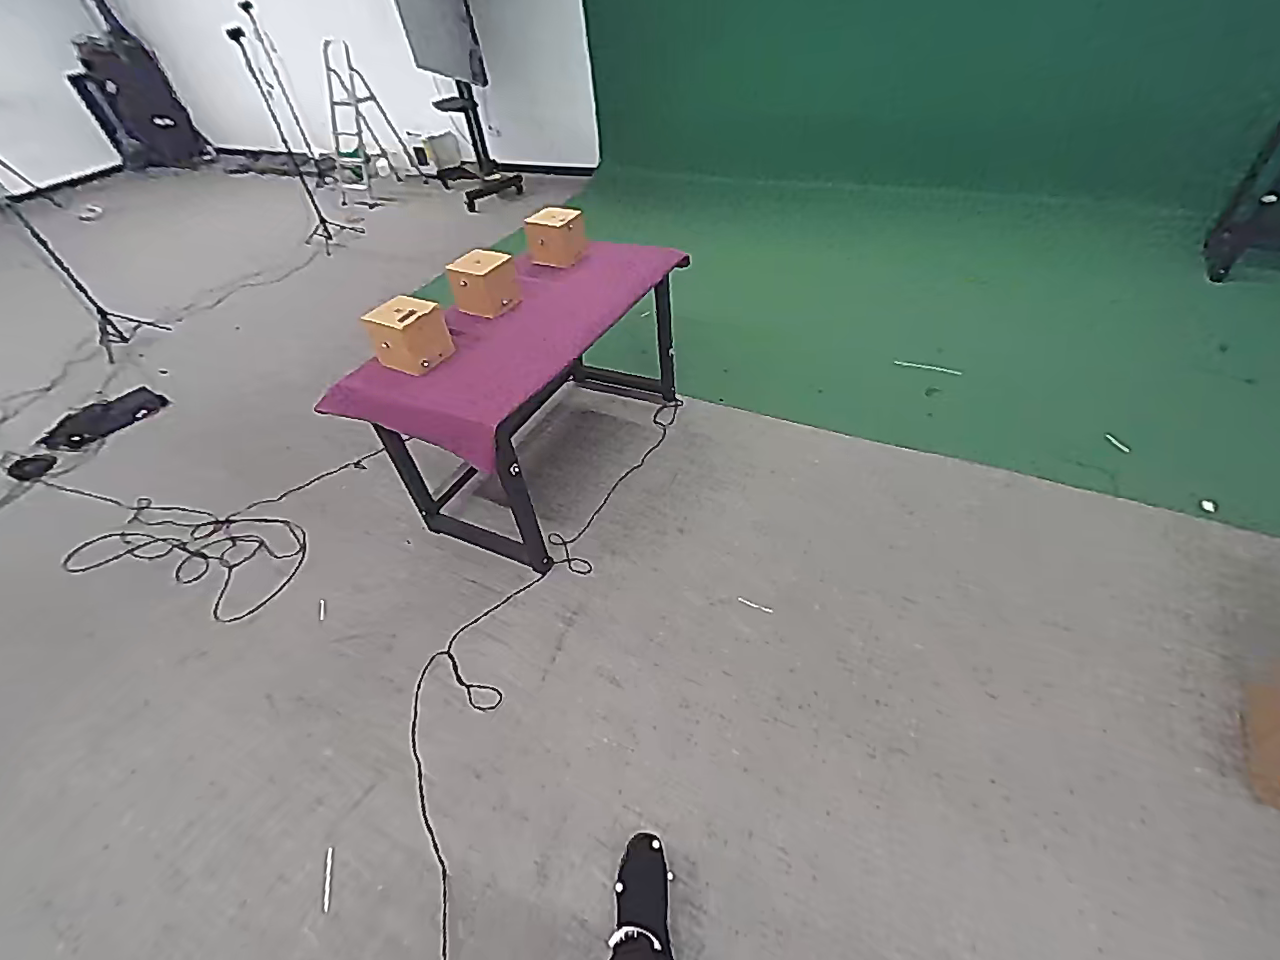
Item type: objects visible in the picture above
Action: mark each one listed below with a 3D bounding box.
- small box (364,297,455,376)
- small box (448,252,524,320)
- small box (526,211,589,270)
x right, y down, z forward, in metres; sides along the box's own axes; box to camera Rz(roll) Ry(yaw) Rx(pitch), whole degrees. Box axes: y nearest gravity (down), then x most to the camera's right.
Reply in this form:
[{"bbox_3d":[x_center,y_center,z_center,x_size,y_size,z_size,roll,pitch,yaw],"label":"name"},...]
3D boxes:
[{"bbox_3d":[-0.716,-0.449,1.702,0.179,0.176,0.168,19,49,23],"label":"small box"},{"bbox_3d":[-0.546,-0.692,1.936,0.179,0.176,0.168,20,51,24],"label":"small box"},{"bbox_3d":[-0.328,-0.971,2.192,0.179,0.176,0.168,18,51,24],"label":"small box"}]
